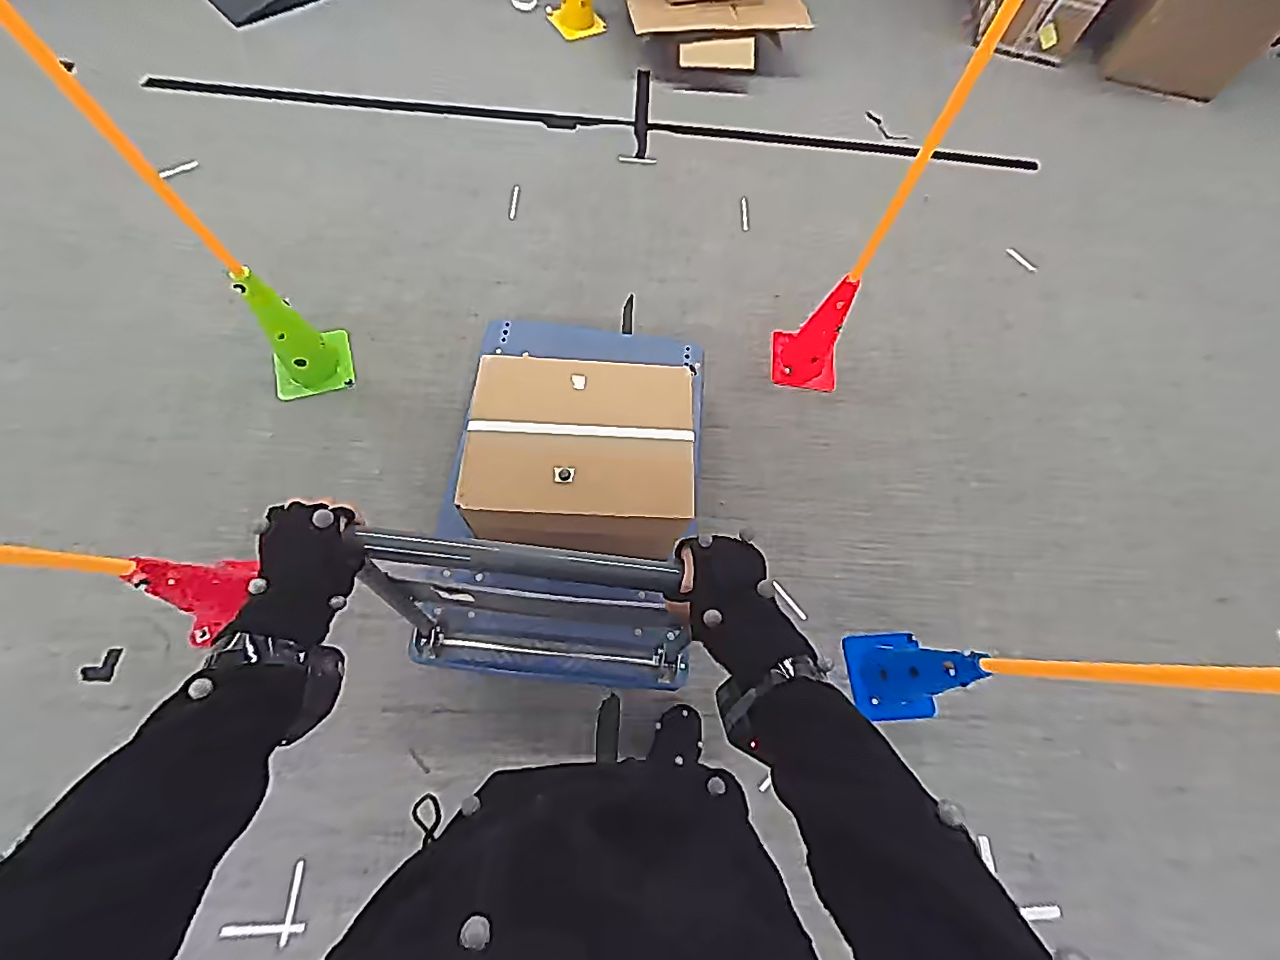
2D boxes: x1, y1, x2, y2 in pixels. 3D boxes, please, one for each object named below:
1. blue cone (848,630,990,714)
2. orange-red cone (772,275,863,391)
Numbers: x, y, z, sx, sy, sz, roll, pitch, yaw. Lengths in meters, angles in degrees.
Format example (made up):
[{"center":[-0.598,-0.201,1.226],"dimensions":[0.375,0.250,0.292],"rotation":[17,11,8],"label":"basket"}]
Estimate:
[{"center":[0.634,0.407,1.188],"dimensions":[0.193,0.380,0.192],"rotation":[-1,66,-6],"label":"blue cone"},{"center":[0.528,-0.436,1.517],"dimensions":[0.199,0.360,0.198],"rotation":[9,67,-2],"label":"orange-red cone"}]
